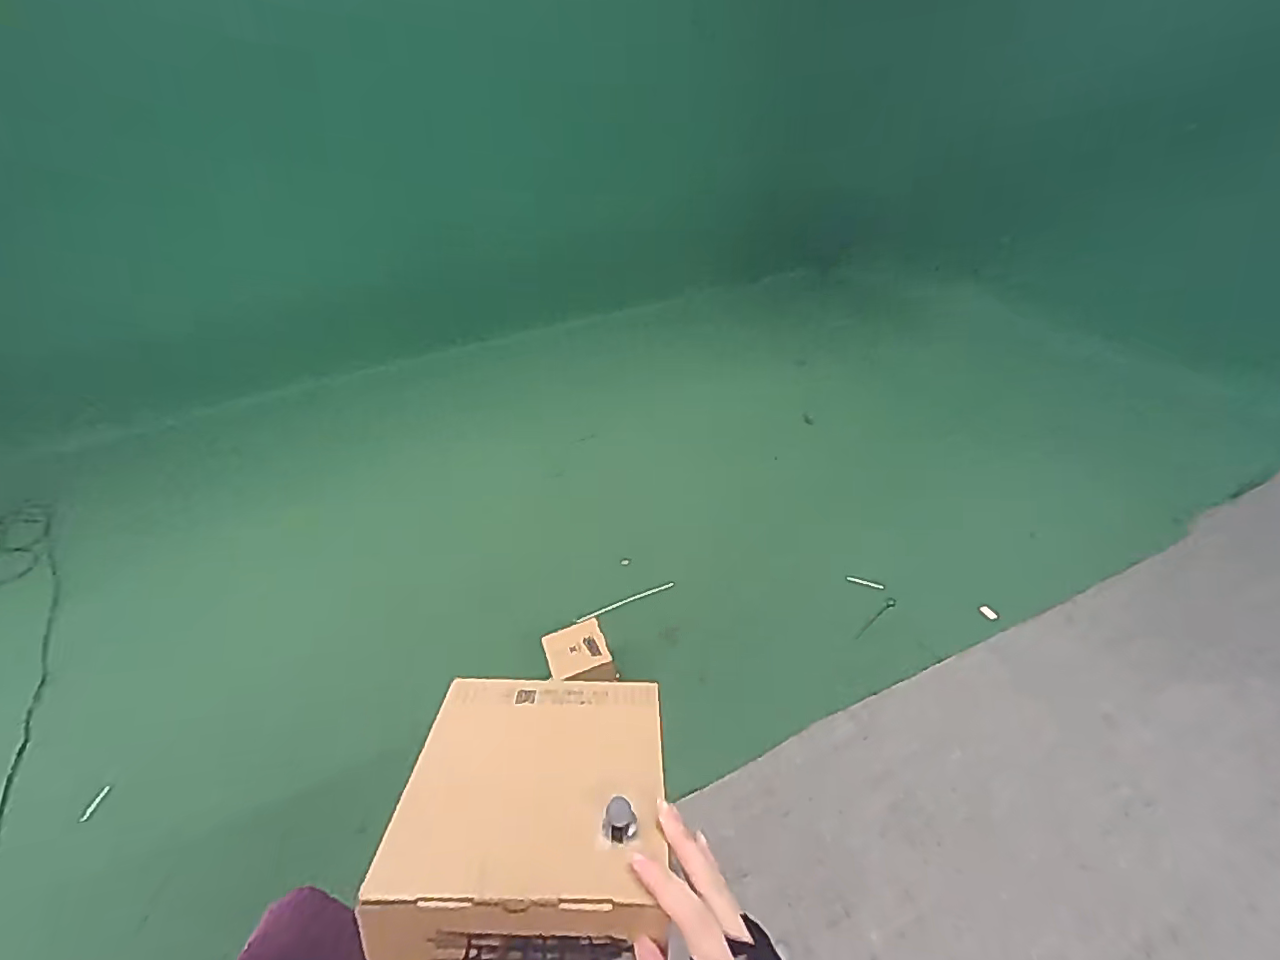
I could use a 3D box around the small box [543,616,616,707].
[{"bbox_3d":[-0.178,0.550,1.637,0.179,0.176,0.168,-18,40,-13],"label":"small box"}]
